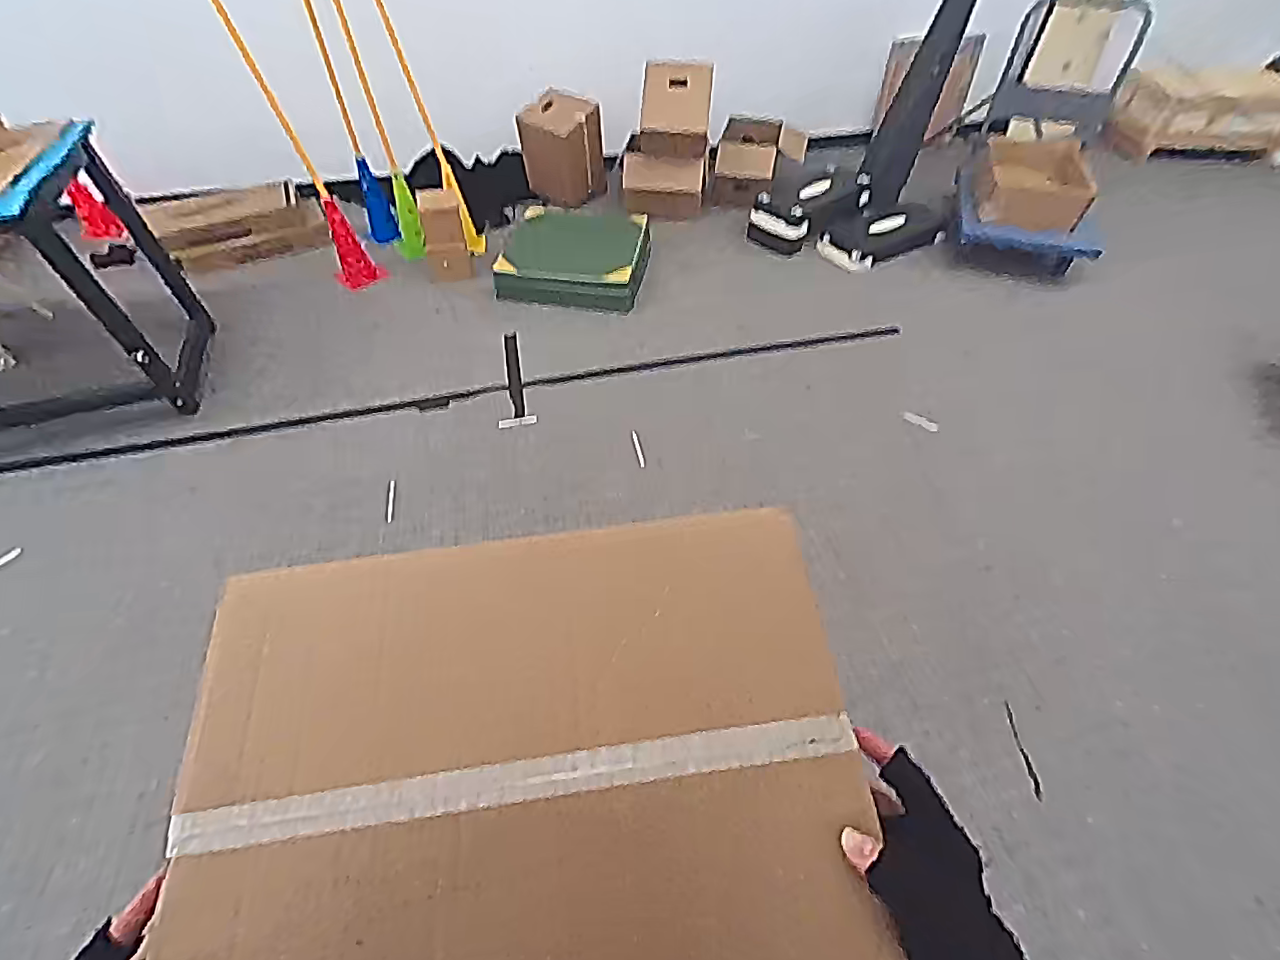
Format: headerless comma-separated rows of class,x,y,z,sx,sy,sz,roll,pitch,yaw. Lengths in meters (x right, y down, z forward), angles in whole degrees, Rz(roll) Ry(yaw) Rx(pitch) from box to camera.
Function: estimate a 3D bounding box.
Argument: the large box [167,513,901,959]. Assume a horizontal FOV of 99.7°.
large box,-0.071,0.254,0.468,0.408,0.320,0.320,-7,63,-3
